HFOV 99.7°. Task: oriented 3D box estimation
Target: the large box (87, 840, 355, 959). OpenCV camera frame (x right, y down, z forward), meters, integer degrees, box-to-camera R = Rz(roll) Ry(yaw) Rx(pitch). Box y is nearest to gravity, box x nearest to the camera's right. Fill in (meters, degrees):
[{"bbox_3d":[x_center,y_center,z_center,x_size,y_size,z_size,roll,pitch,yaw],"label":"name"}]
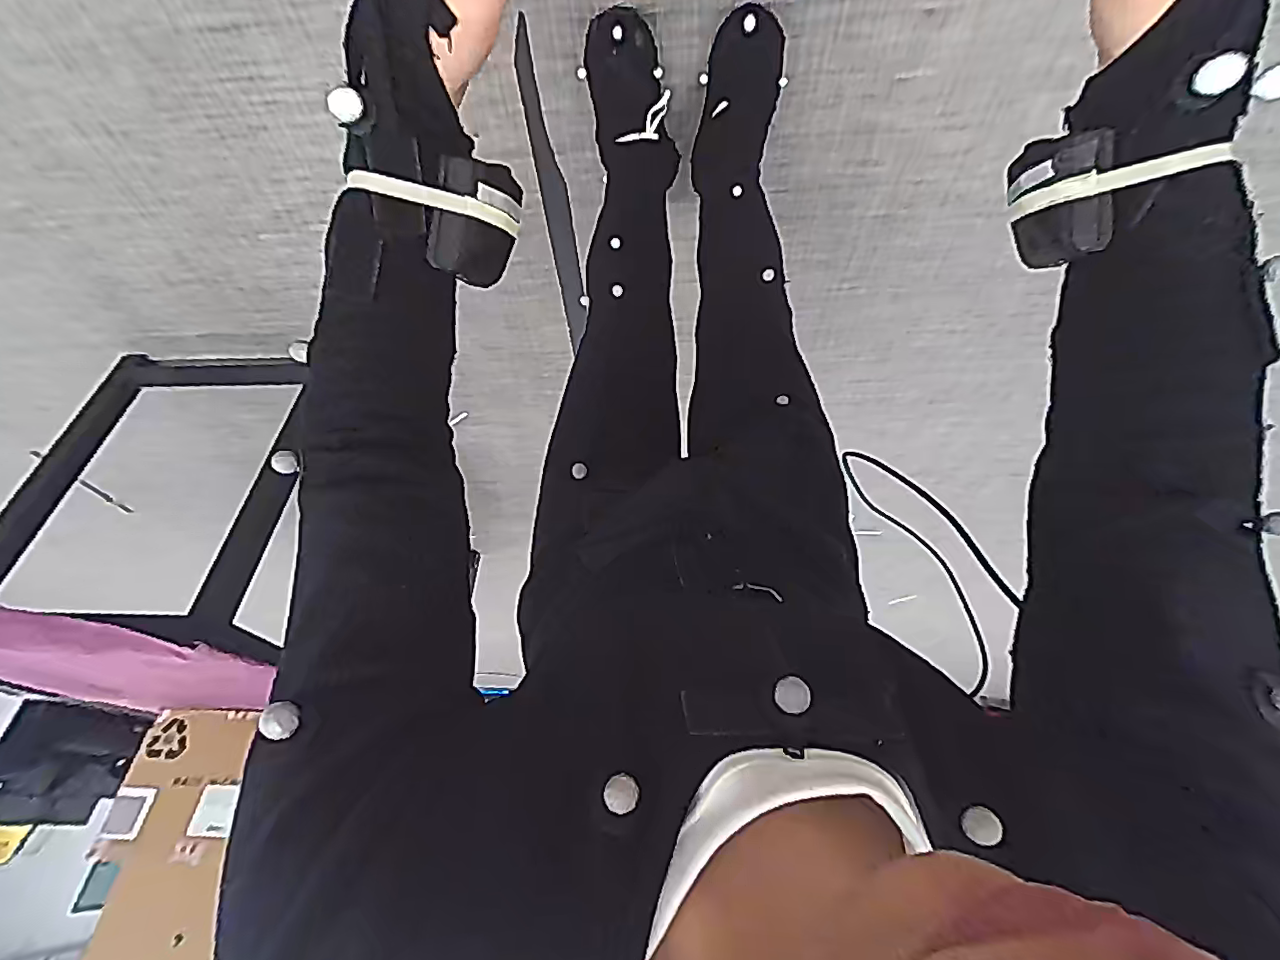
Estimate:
[{"bbox_3d":[-0.996,1.074,1.311,0.408,0.320,0.320,0,151,3],"label":"large box"}]
